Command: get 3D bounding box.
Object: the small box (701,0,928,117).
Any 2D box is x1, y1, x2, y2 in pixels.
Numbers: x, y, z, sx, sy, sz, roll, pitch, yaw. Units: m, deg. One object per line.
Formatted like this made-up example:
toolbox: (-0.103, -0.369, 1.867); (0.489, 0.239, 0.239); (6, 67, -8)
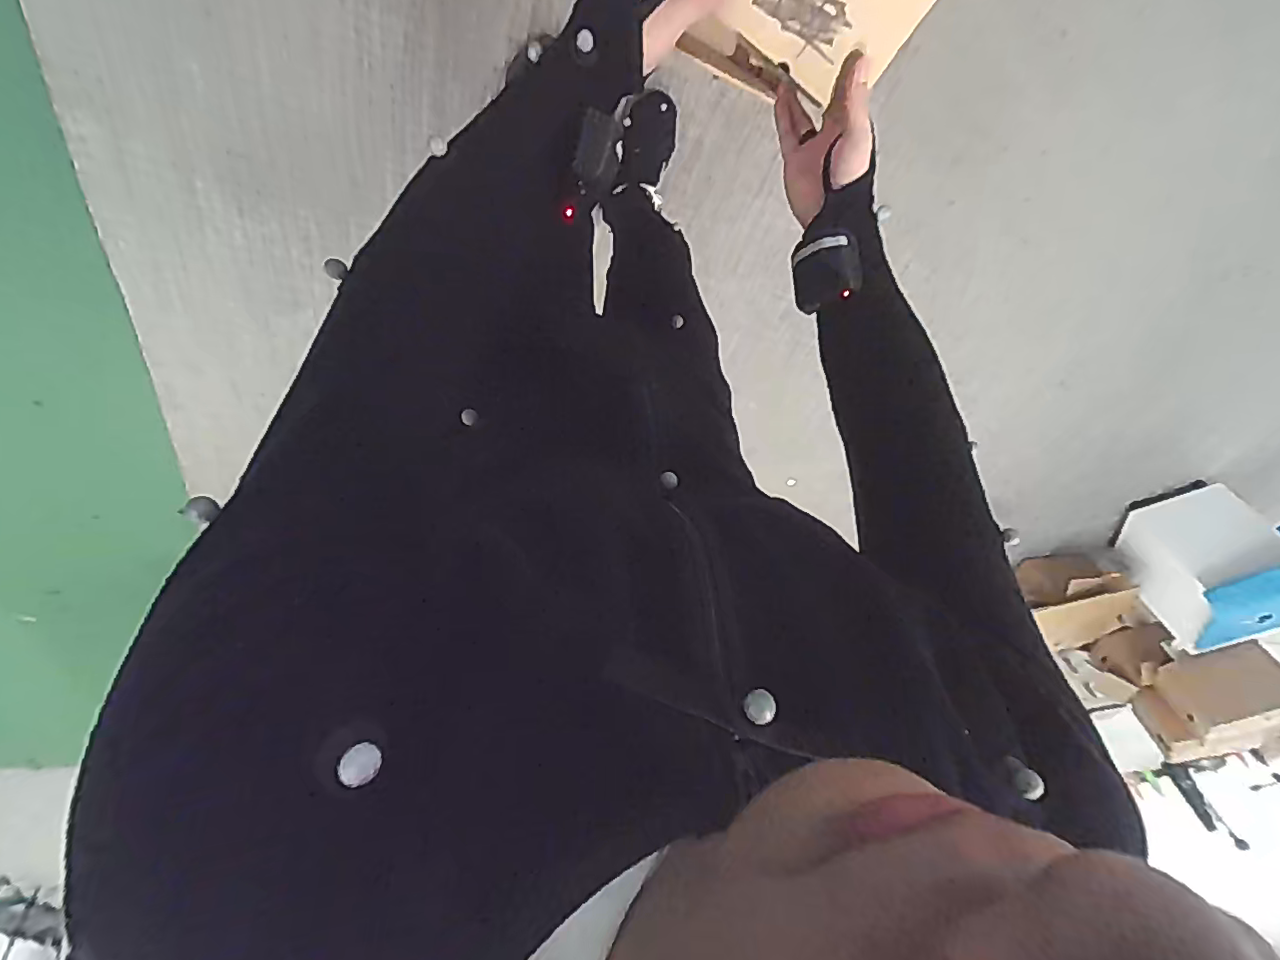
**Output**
small box: (0.150, -0.470, 0.466); (0.168, 0.176, 0.179); (16, 133, -30)
